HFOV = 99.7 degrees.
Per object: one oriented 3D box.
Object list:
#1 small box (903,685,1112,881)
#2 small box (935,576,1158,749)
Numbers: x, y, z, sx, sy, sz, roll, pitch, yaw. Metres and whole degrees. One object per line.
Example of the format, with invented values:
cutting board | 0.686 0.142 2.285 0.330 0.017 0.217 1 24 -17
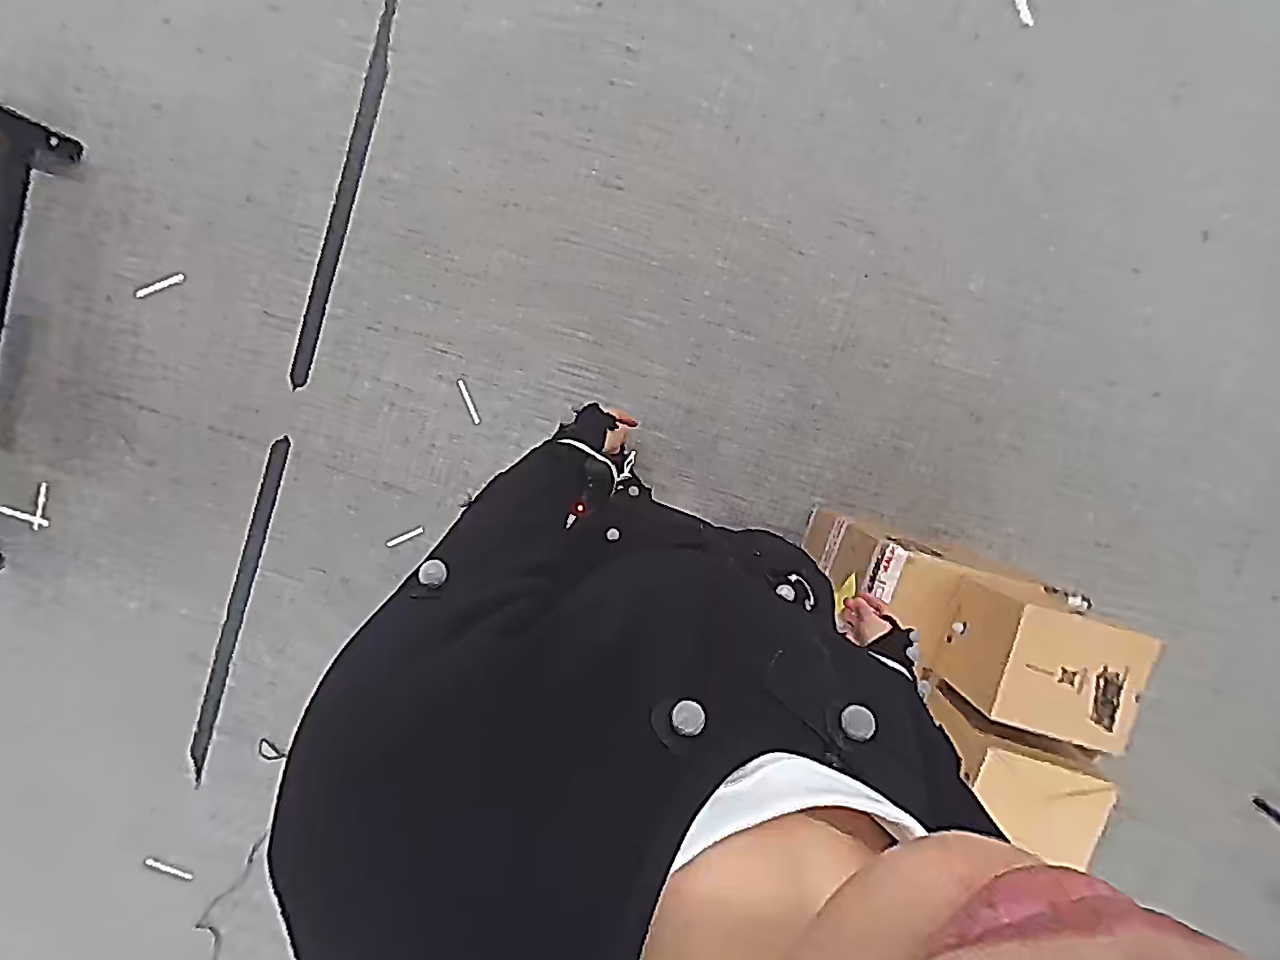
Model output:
small box | 0.534 0.443 0.808 0.179 0.176 0.168 16 99 4
small box | 0.575 0.252 0.792 0.179 0.176 0.168 16 94 4
